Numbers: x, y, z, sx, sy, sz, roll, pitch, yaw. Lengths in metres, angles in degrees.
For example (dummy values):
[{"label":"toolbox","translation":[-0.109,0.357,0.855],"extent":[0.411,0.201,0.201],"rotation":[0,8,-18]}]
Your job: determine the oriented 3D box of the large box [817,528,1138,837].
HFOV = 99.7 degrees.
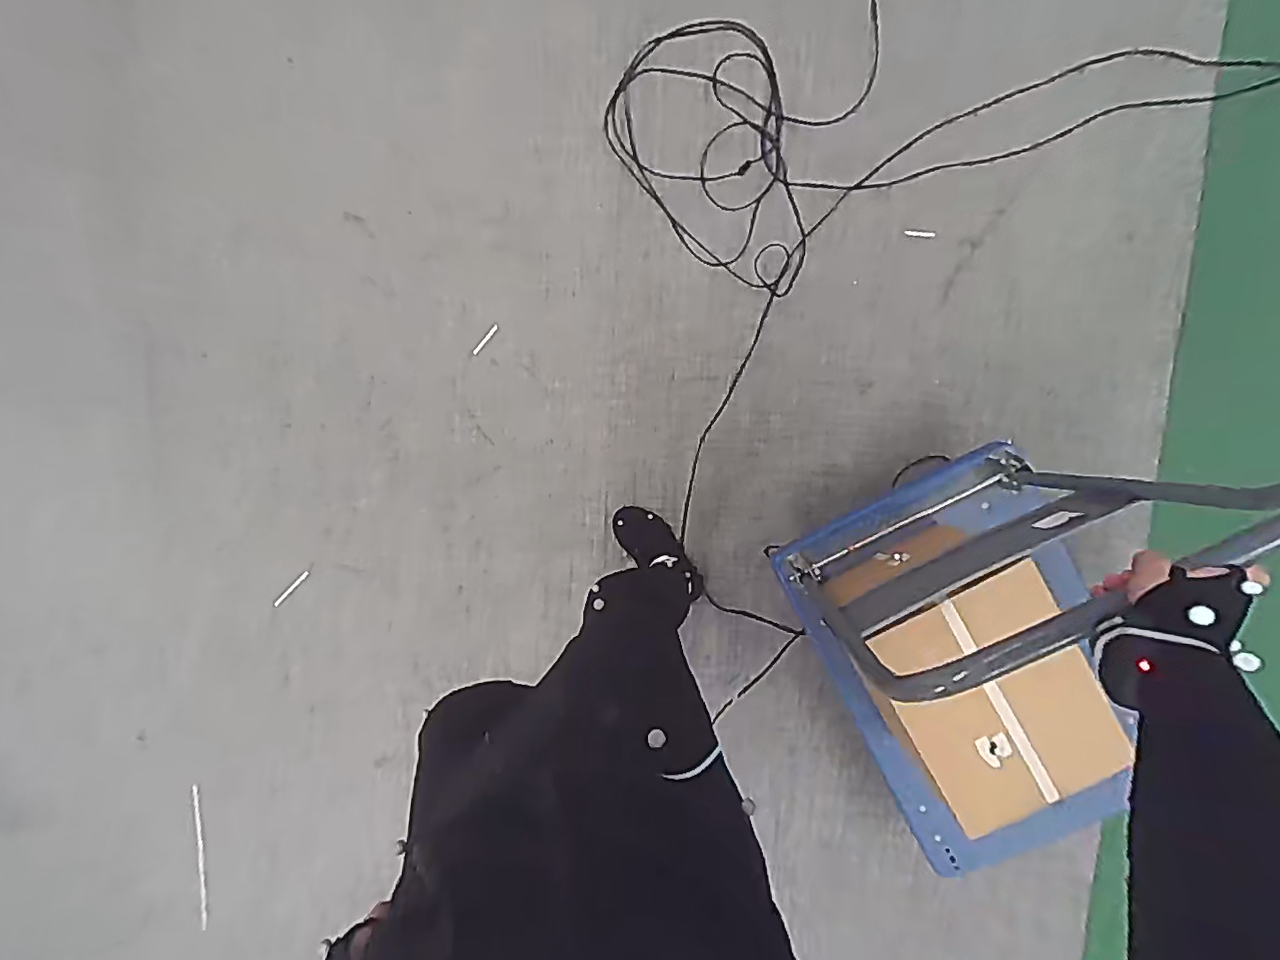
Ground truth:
[{"label":"large box","translation":[0.612,0.359,1.056],"extent":[0.320,0.320,0.408],"rotation":[-30,93,6]}]
